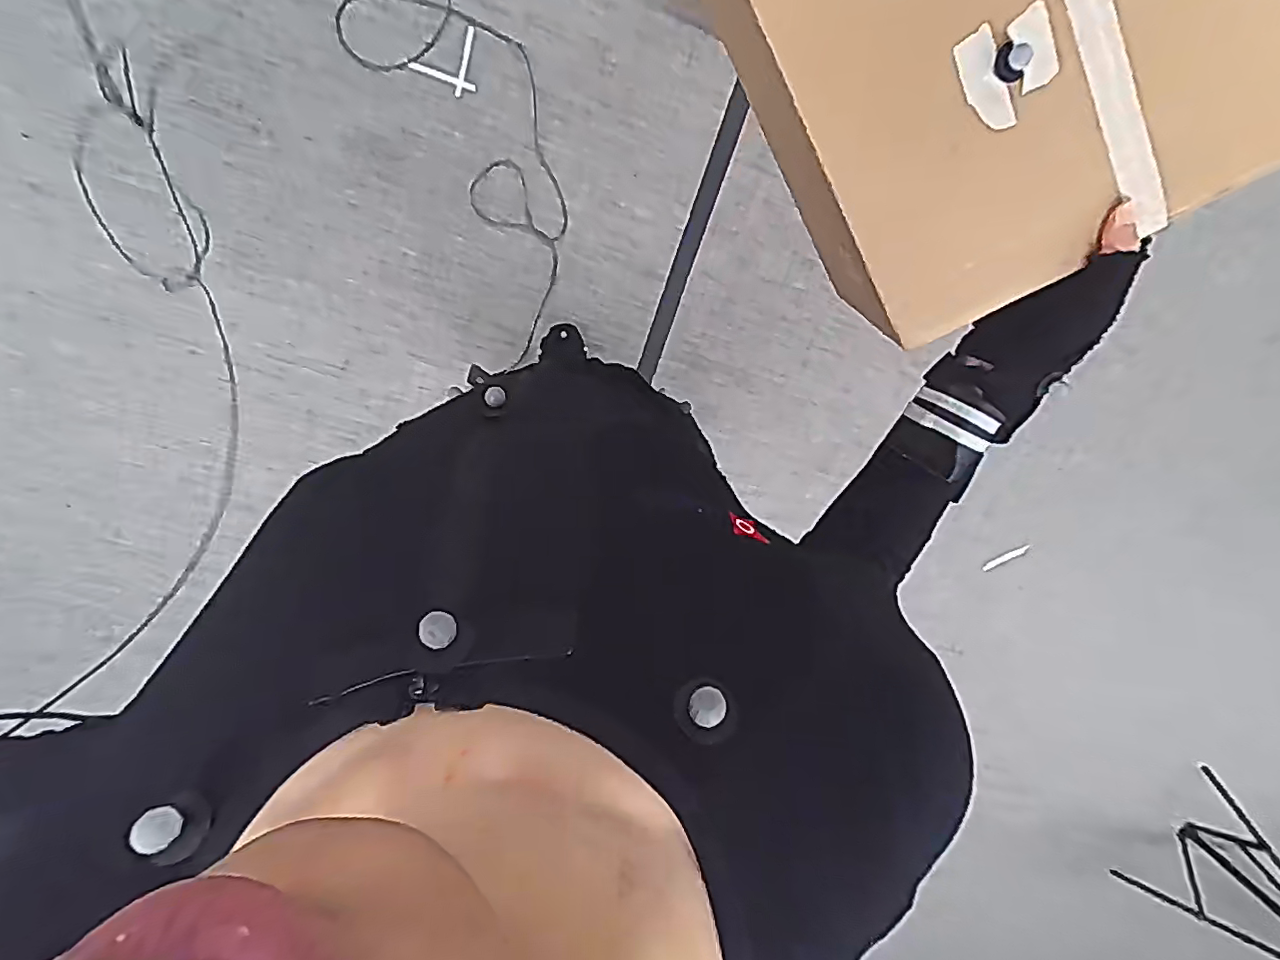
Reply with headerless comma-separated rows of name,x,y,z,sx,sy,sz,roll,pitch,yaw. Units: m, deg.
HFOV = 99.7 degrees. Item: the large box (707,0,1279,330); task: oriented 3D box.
large box,0.253,-0.399,0.437,0.320,0.320,0.408,-26,109,23
